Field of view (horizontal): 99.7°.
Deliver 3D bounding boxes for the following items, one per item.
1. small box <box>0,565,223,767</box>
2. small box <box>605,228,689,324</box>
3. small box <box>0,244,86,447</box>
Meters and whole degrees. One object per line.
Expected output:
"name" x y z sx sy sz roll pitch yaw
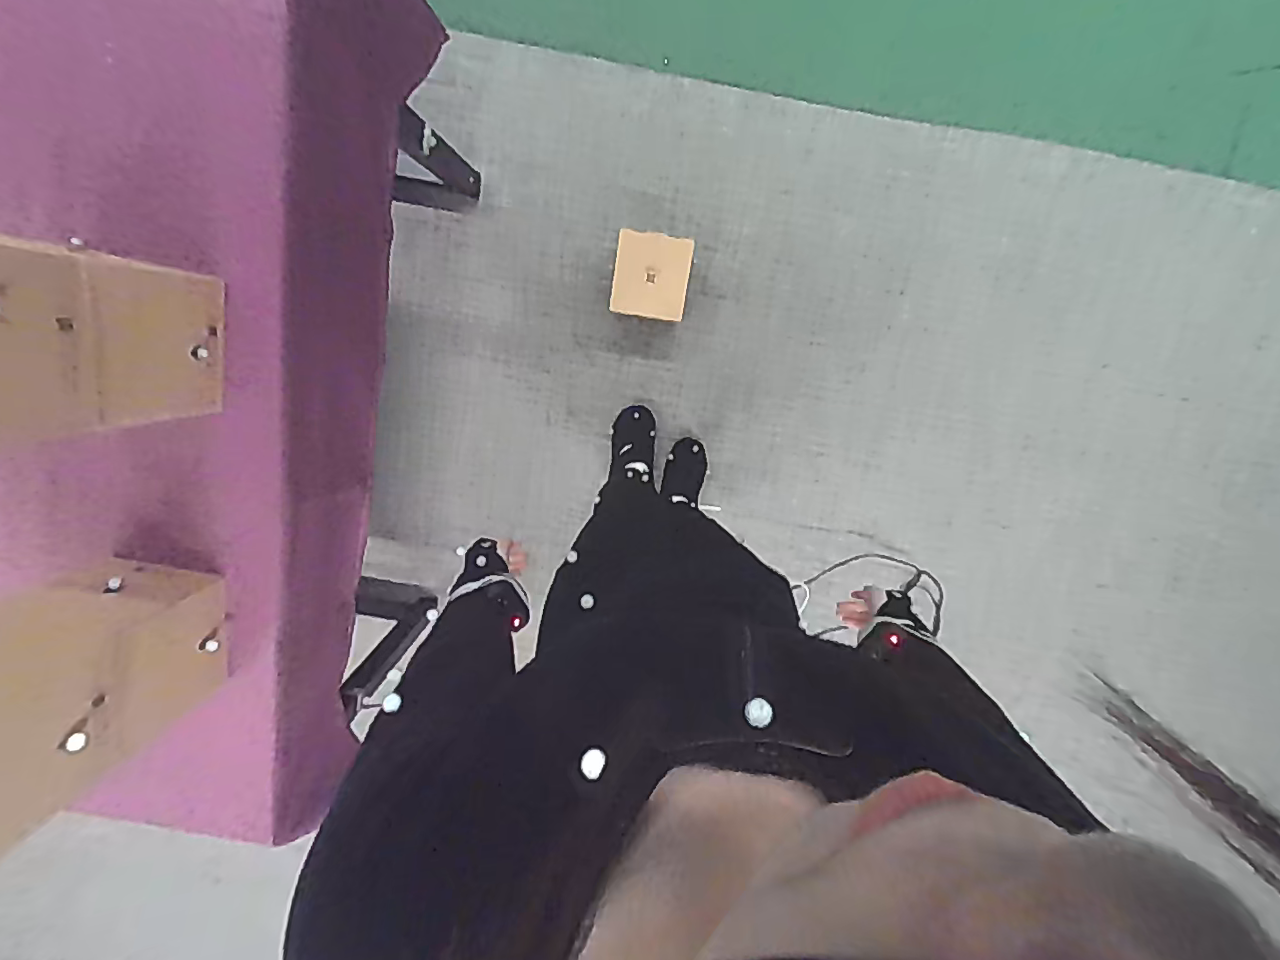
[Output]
"small box" -0.676 0.225 0.693 0.168 0.176 0.179 9 103 -1
"small box" 0.016 -0.466 1.263 0.168 0.176 0.179 8 104 -2
"small box" -0.608 -0.119 0.436 0.179 0.176 0.168 11 104 -2
